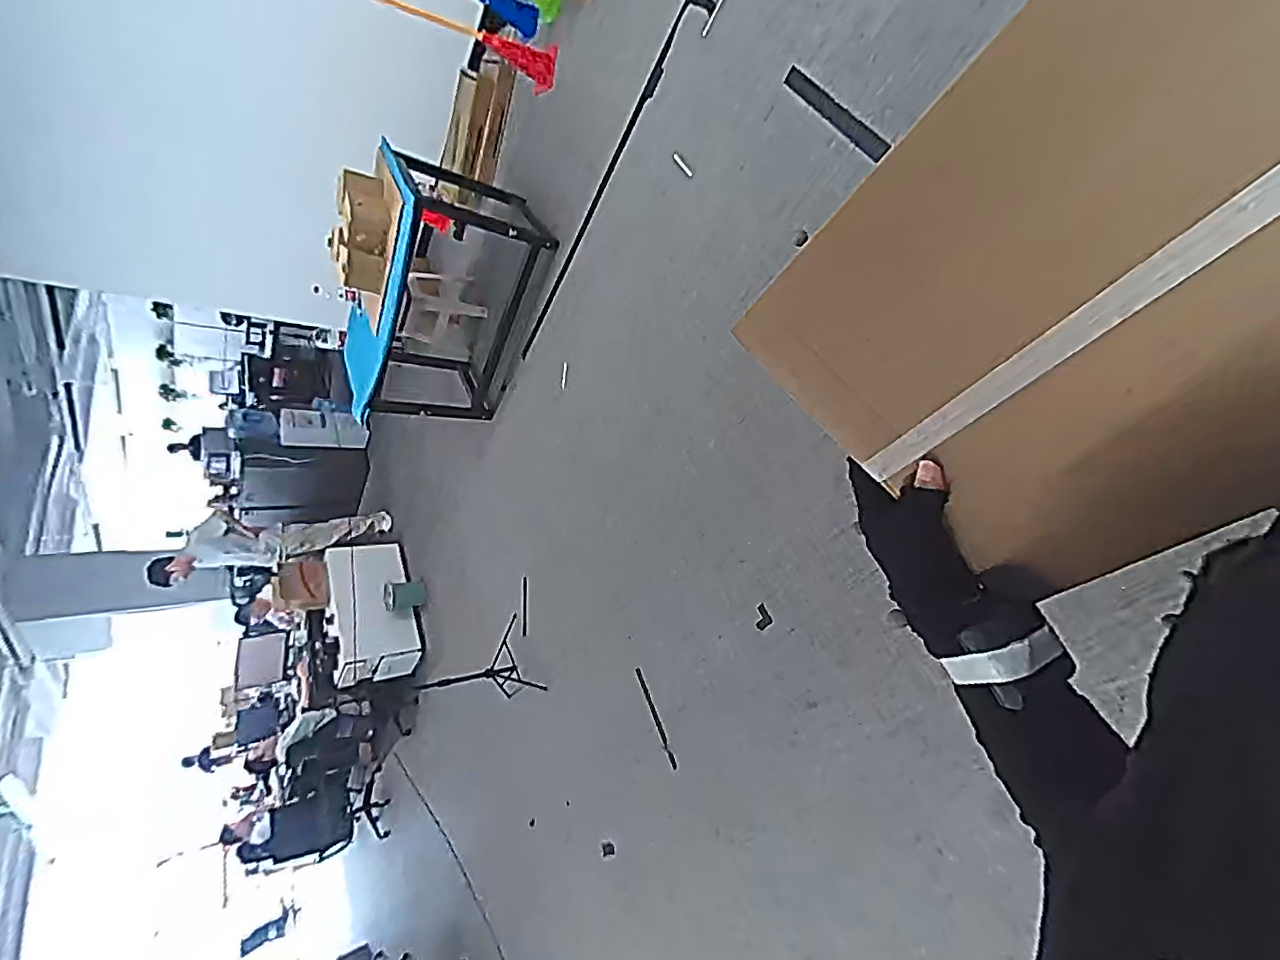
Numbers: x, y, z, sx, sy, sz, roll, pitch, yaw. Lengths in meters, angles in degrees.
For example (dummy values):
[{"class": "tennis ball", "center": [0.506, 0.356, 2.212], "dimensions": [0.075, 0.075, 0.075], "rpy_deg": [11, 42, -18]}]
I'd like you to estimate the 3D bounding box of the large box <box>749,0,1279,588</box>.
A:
[{"class": "large box", "center": [0.362, -0.193, 0.427], "dimensions": [0.320, 0.320, 0.408], "rpy_deg": [44, 128, -1]}]
